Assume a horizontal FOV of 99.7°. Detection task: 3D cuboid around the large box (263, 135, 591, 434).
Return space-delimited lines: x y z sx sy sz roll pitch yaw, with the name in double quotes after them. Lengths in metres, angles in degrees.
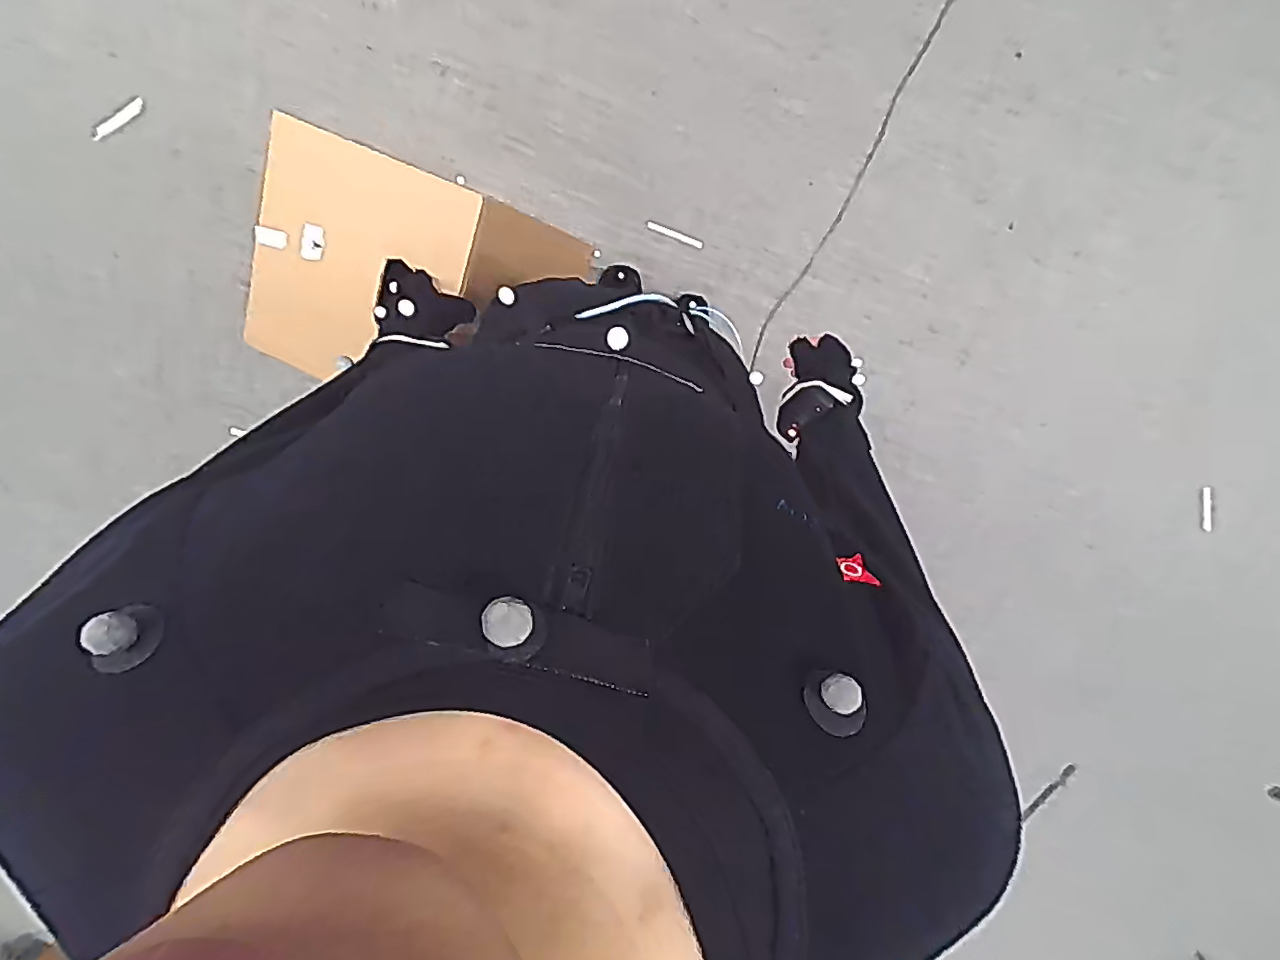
-0.328 -0.311 0.907 0.320 0.408 0.320 26 110 6 "large box"
